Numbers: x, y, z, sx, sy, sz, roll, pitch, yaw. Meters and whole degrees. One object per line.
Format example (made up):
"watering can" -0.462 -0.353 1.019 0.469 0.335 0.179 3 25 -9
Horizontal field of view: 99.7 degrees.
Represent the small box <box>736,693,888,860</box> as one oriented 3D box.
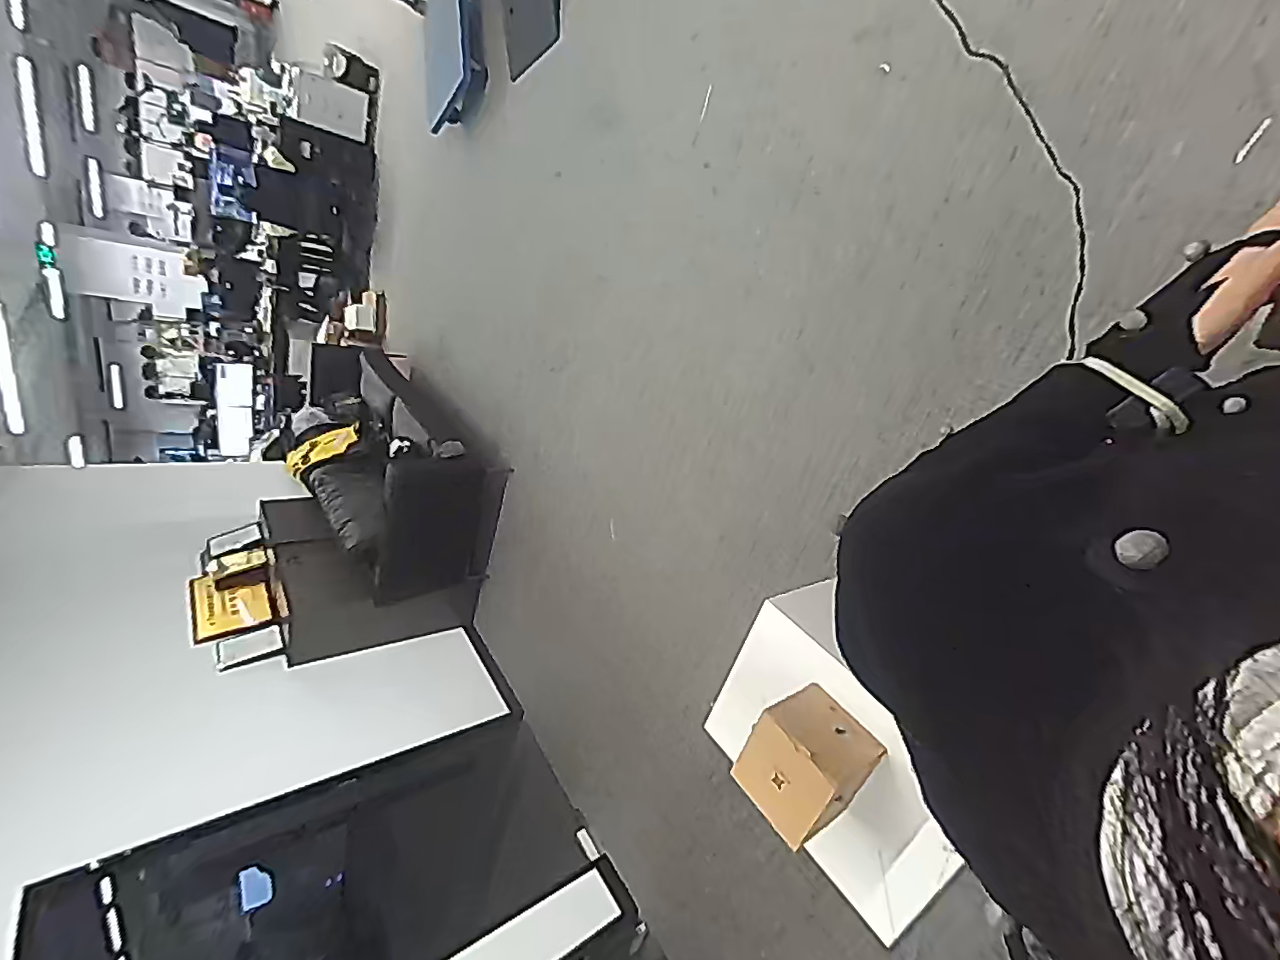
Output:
"small box" 0.308 0.519 0.968 0.168 0.176 0.179 40 122 42
